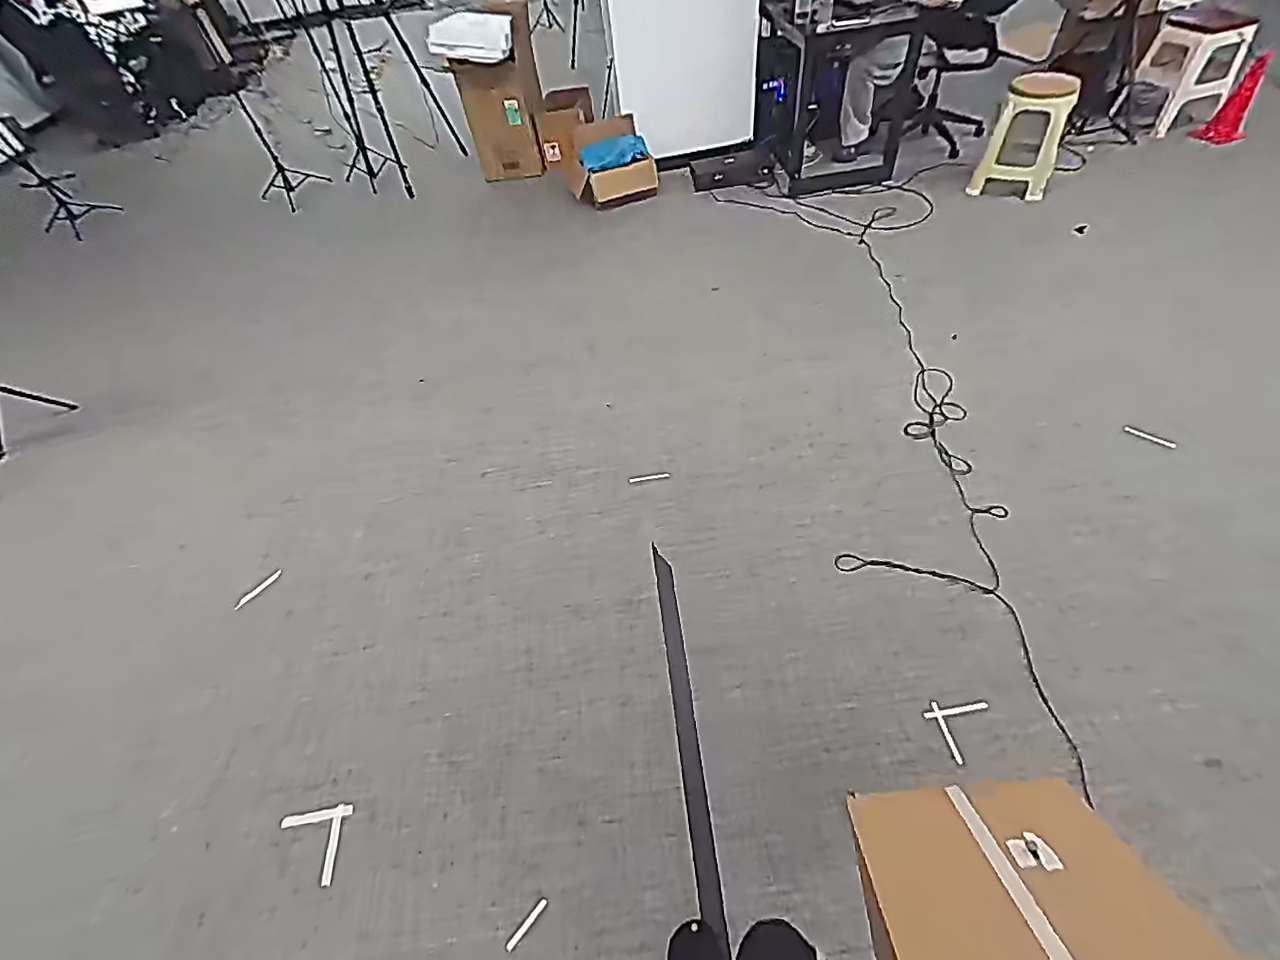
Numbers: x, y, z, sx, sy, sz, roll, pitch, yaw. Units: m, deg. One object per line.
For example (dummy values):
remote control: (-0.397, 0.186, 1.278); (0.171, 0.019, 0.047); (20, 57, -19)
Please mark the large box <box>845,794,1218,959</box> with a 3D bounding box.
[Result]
large box: (0.469, 0.651, 0.635); (0.320, 0.408, 0.320); (-9, 92, 9)
